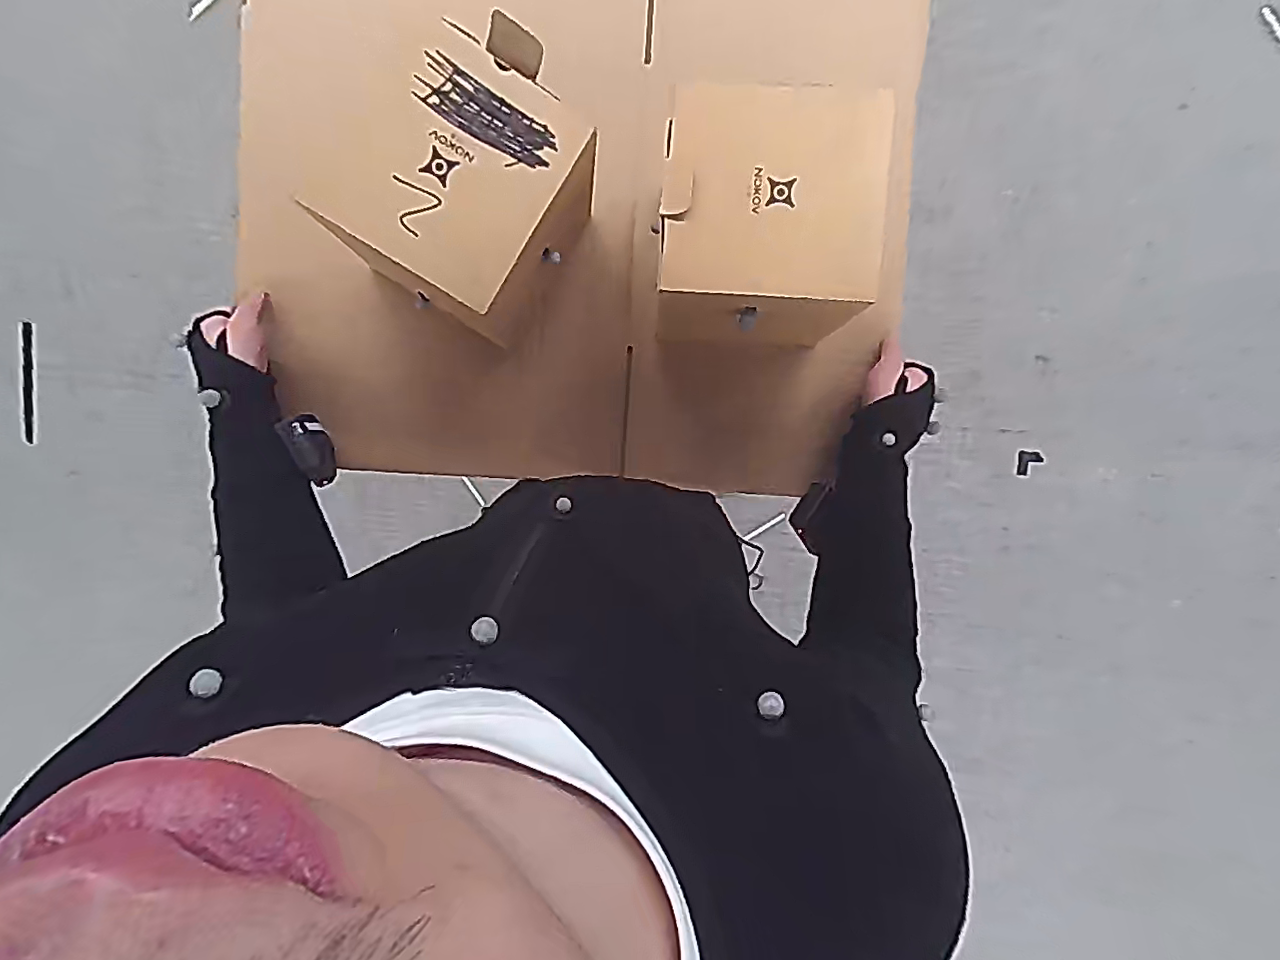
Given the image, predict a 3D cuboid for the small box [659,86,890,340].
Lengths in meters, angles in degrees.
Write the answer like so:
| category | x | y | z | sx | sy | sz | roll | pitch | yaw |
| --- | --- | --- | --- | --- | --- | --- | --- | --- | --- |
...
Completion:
| category | x | y | z | sx | sy | sz | roll | pitch | yaw |
| --- | --- | --- | --- | --- | --- | --- | --- | --- | --- |
| small box | 0.111 | -0.235 | 0.519 | 0.179 | 0.176 | 0.168 | 4 | 93 | 2 |
